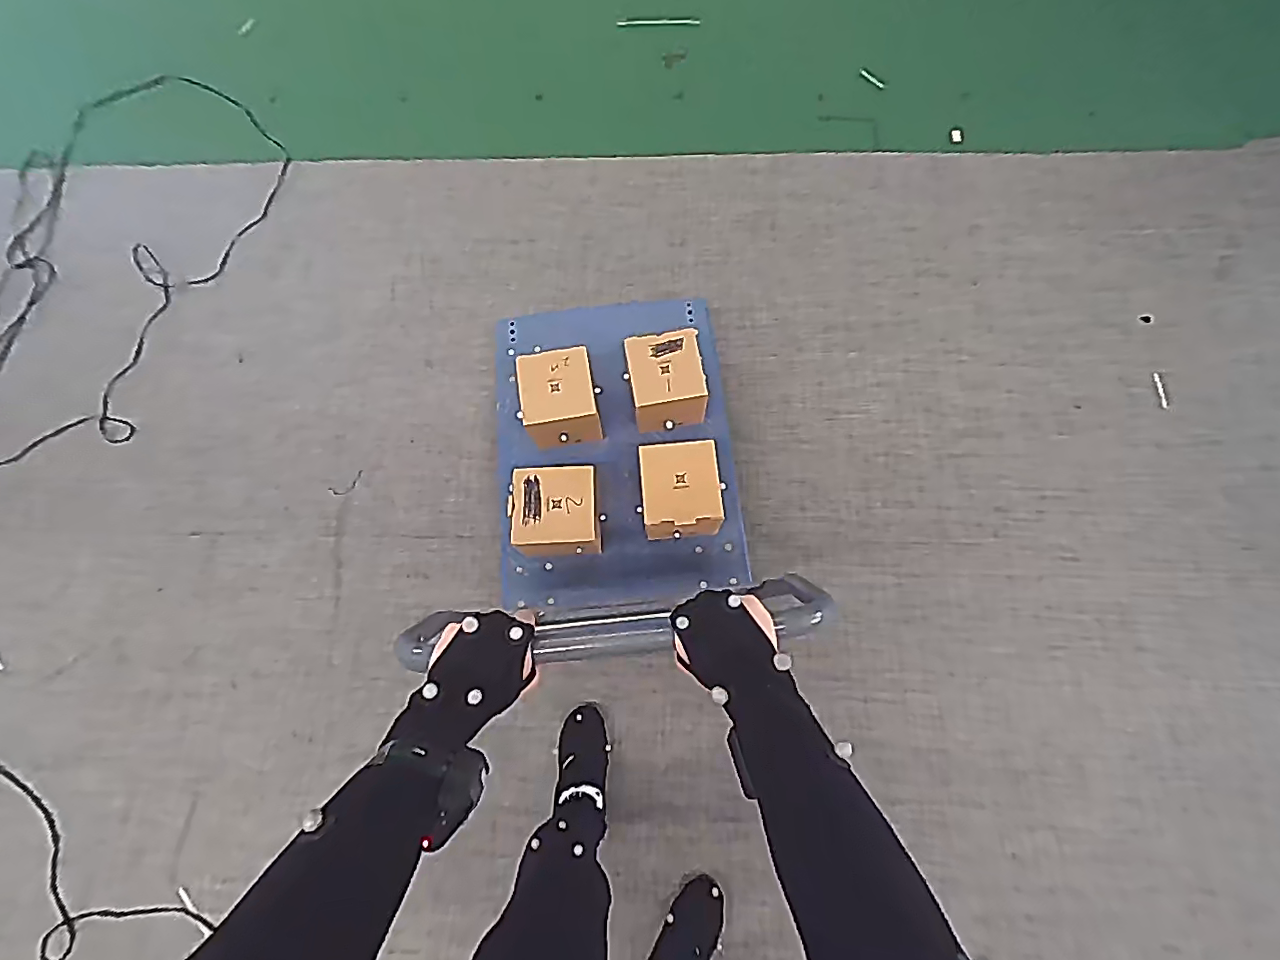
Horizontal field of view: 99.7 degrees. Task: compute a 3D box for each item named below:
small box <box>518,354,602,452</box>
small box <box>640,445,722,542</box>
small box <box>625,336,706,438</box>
[{"bbox_3d":[-0.189,-0.178,1.312,0.168,0.176,0.179,-9,73,-2],"label":"small box"},{"bbox_3d":[0.087,0.035,1.238,0.168,0.176,0.179,-5,73,0],"label":"small box"},{"bbox_3d":[0.059,-0.222,1.317,0.168,0.176,0.179,-10,73,0],"label":"small box"}]
